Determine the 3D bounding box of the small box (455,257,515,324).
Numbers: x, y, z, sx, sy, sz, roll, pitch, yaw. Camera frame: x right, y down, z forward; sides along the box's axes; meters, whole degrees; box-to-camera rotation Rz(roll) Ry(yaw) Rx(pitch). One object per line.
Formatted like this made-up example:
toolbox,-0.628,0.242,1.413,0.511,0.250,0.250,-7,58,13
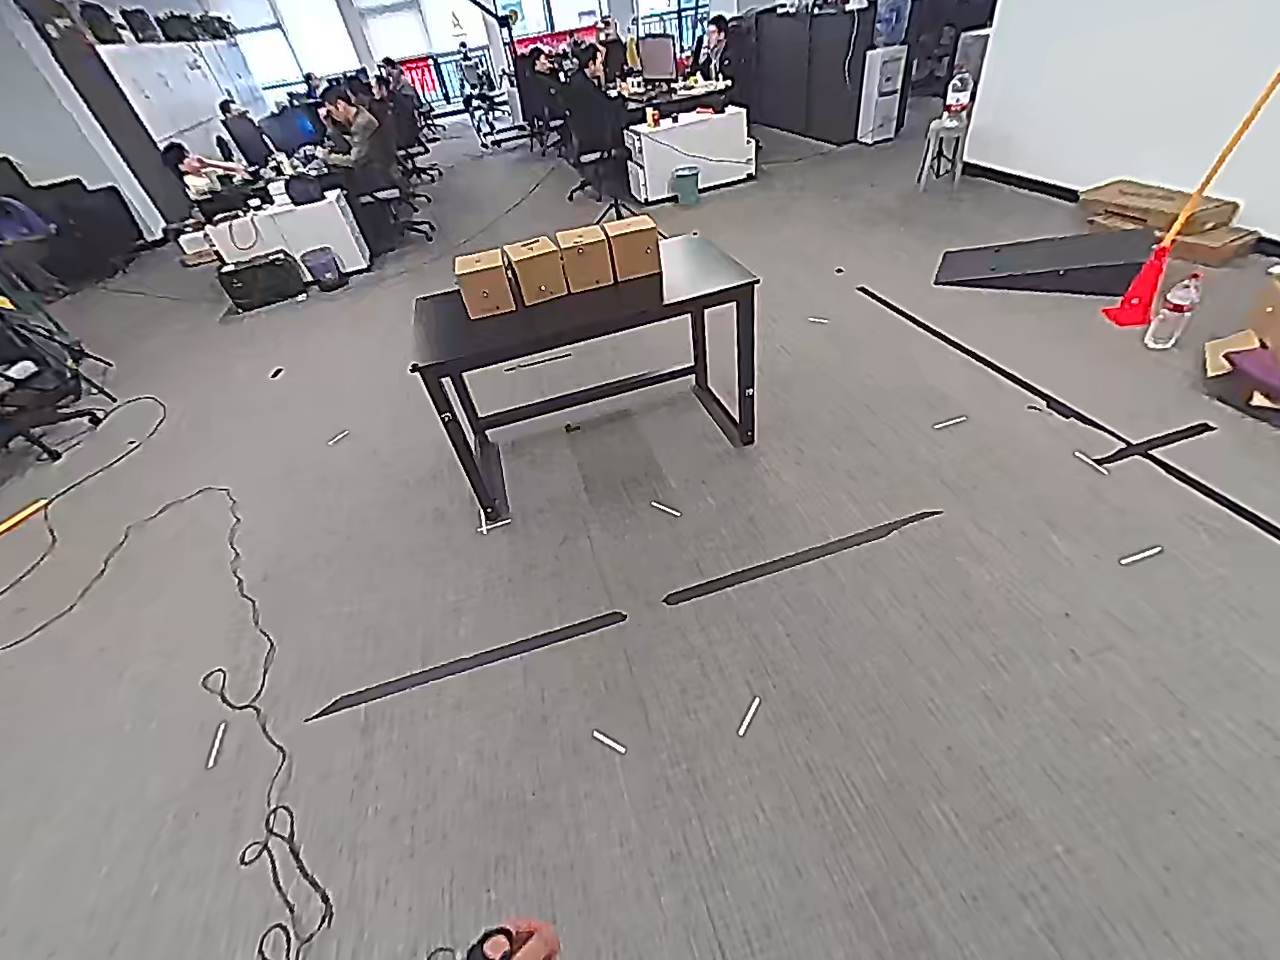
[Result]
small box,-0.562,-0.686,1.972,0.168,0.176,0.179,-15,41,-5
